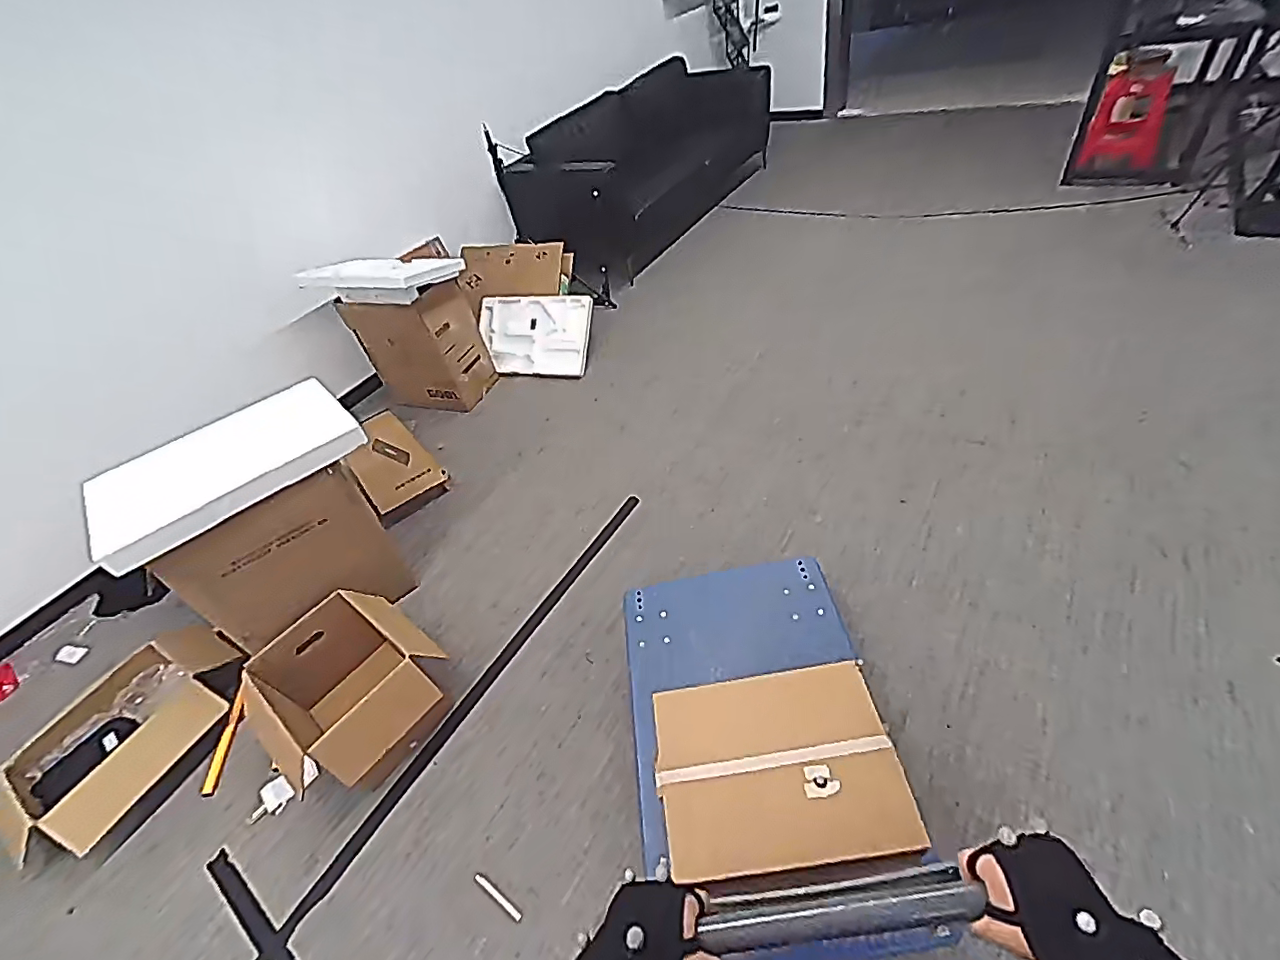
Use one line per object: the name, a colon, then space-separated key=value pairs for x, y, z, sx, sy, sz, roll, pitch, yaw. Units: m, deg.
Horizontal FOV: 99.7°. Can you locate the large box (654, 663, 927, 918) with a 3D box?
large box: x=0.260 y=0.603 z=1.048 sx=0.408 sy=0.320 sz=0.320 roll=-10 pitch=44 yaw=3
